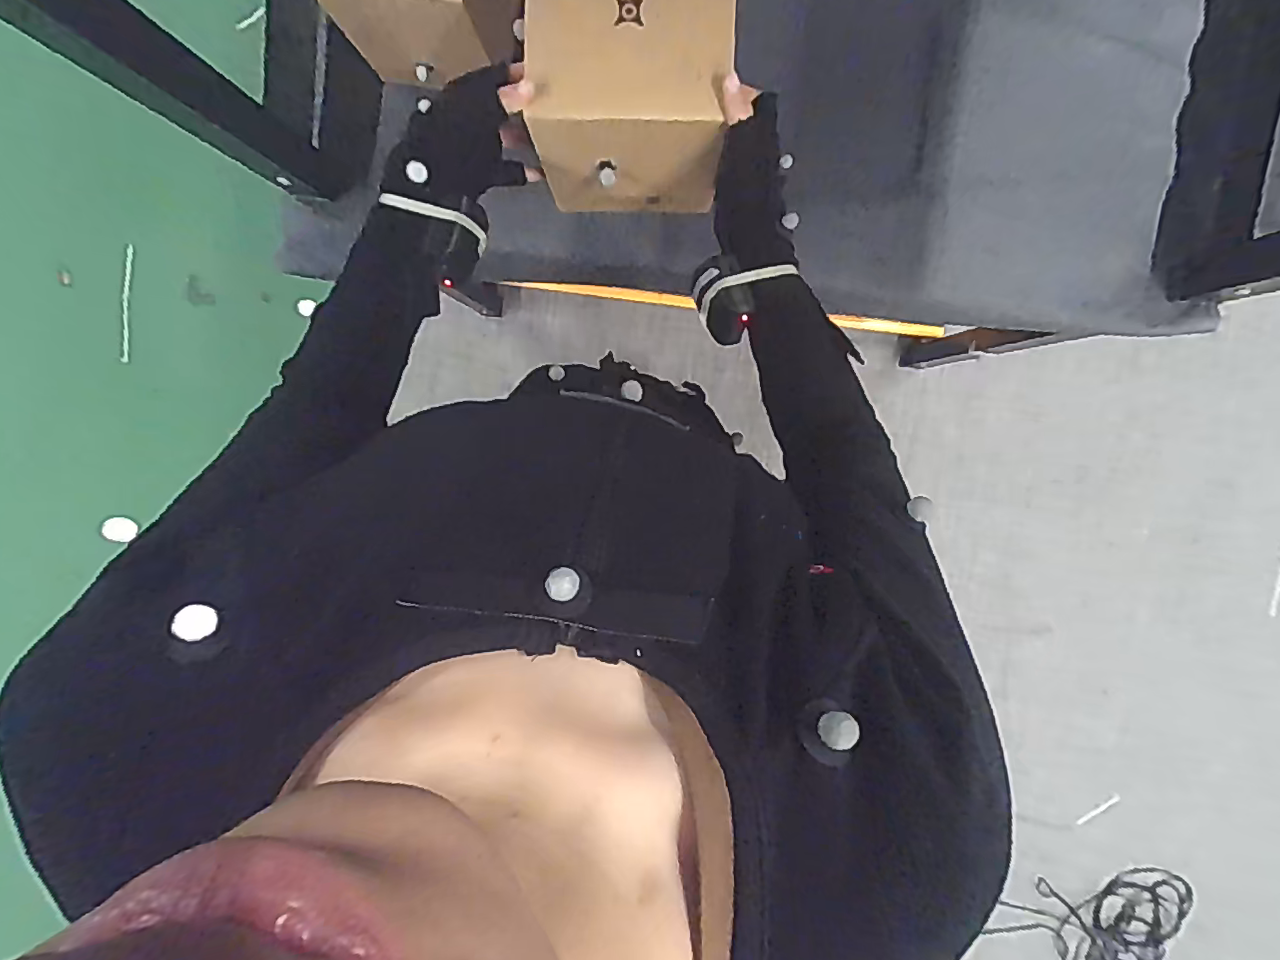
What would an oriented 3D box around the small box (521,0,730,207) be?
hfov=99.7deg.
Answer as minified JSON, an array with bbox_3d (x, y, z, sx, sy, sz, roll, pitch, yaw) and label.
[{"bbox_3d":[-0.009,-0.374,0.501,0.168,0.176,0.179,1,93,1],"label":"small box"}]

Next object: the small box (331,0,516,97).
[{"bbox_3d":[-0.241,-0.577,0.601,0.168,0.176,0.179,9,98,0],"label":"small box"}]
